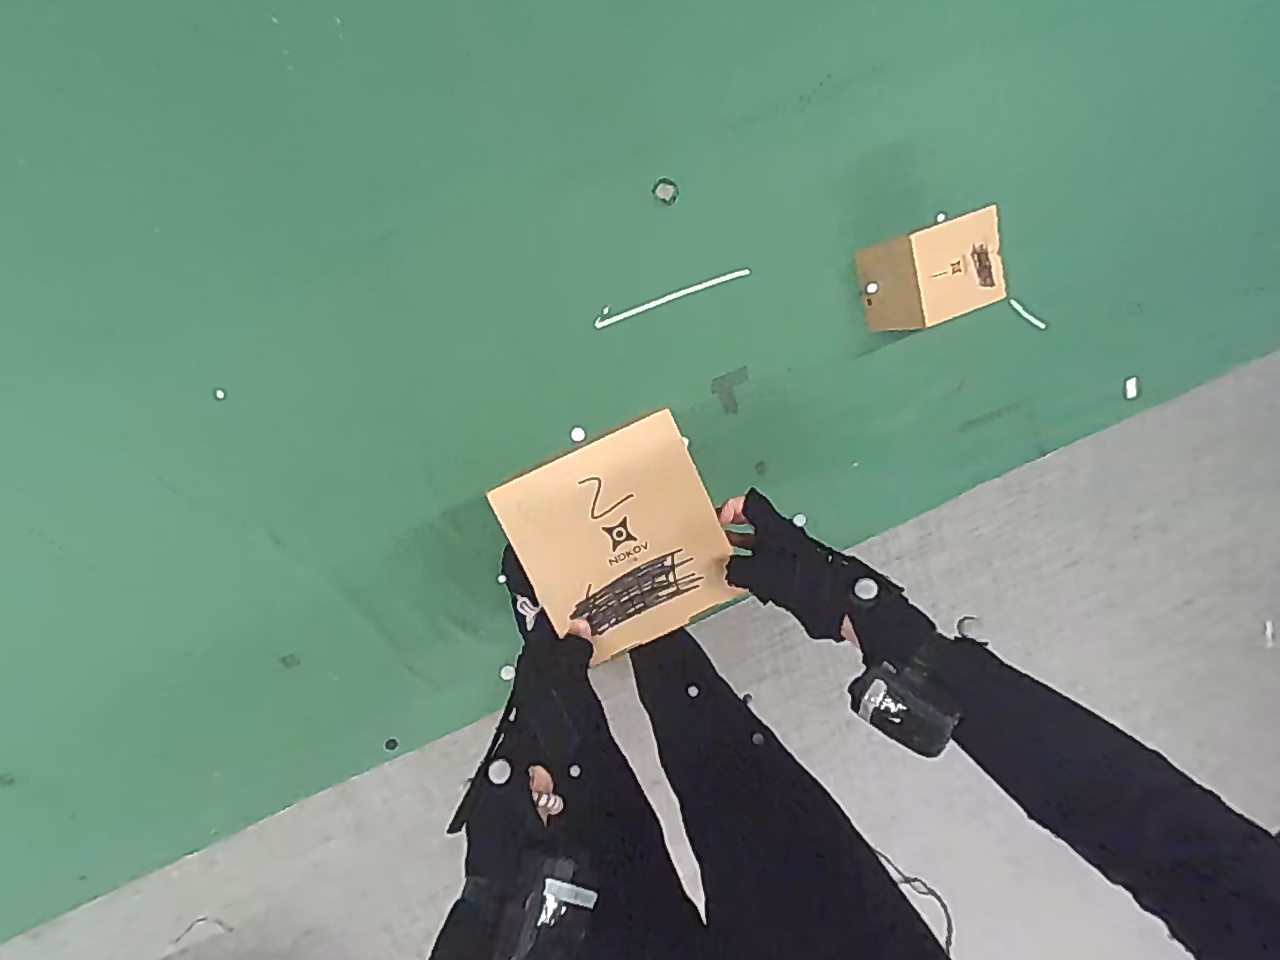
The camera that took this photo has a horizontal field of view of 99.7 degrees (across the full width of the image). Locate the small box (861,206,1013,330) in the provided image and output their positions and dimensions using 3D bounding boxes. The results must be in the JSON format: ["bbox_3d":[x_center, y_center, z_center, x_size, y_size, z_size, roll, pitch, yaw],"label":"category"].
[{"bbox_3d":[0.552,-0.390,1.018,0.179,0.176,0.168,-21,107,-7],"label":"small box"}]
